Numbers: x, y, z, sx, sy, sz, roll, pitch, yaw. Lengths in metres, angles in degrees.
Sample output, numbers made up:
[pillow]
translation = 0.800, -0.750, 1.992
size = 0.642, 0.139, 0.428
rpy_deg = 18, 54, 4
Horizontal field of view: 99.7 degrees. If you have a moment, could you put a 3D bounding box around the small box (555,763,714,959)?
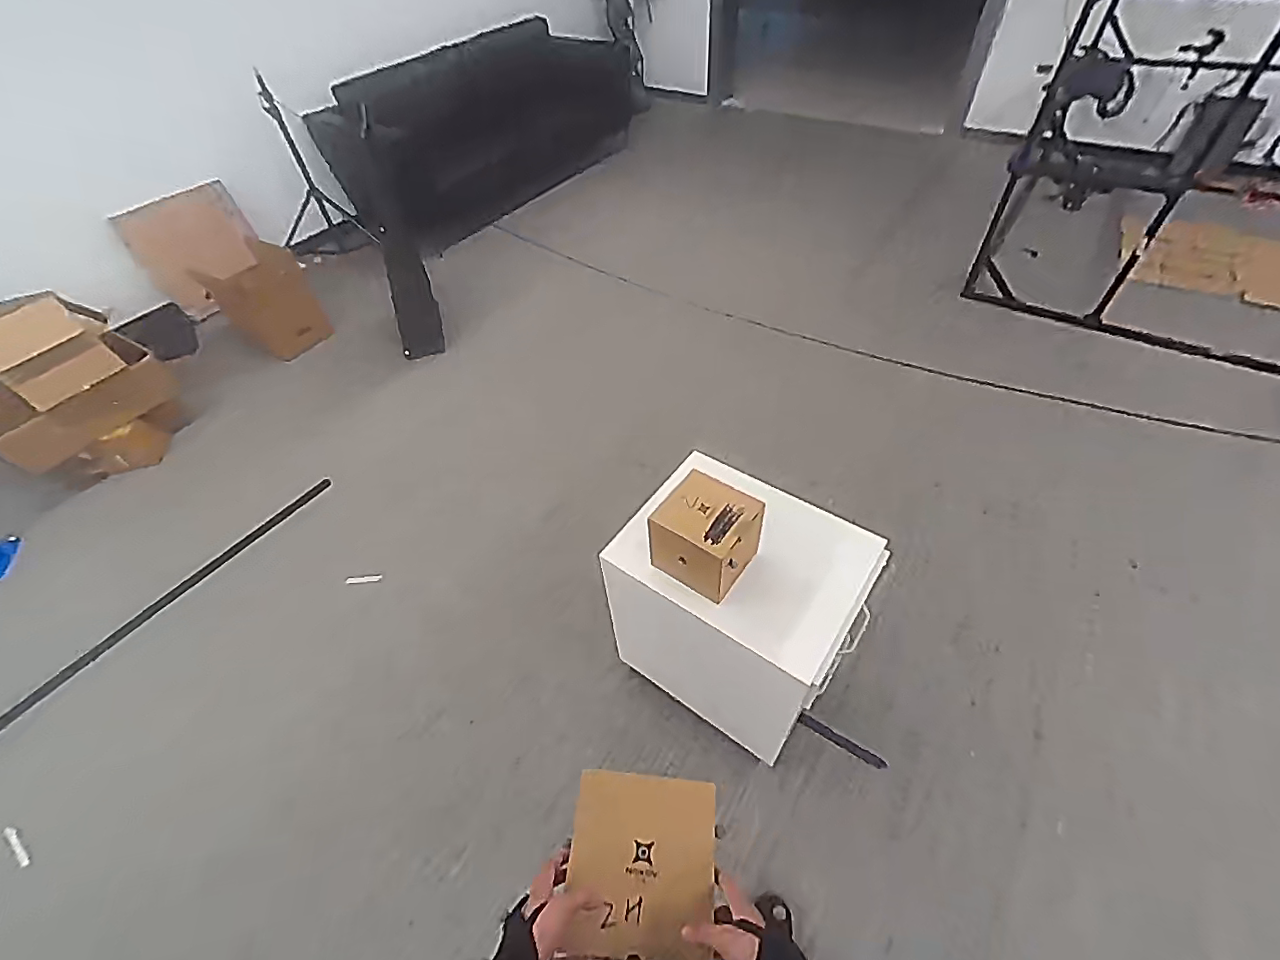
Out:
[small box]
translation = -0.003, 0.474, 0.674
size = 0.168, 0.176, 0.179
rpy_deg = 5, 53, 3
